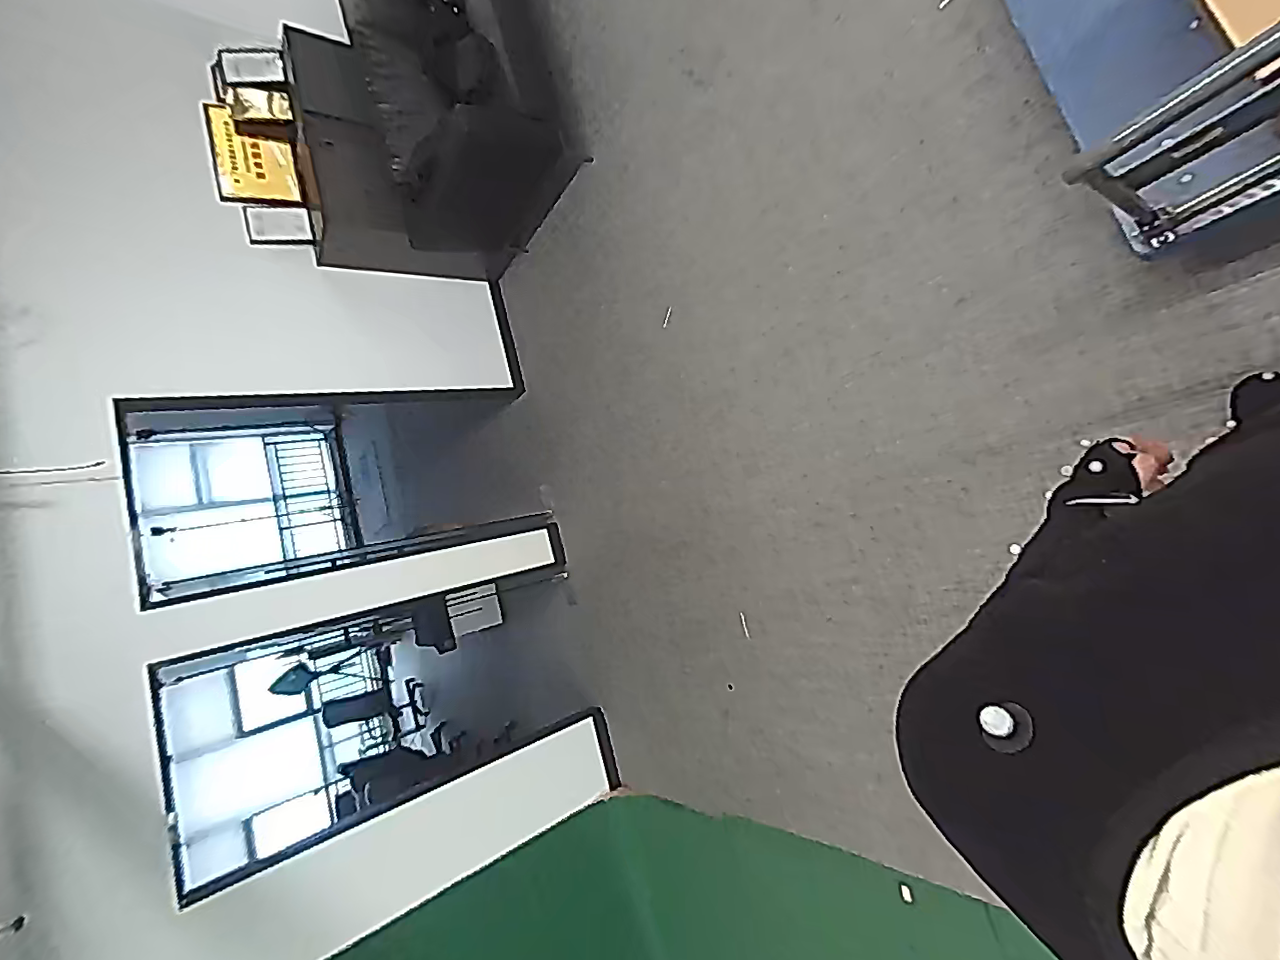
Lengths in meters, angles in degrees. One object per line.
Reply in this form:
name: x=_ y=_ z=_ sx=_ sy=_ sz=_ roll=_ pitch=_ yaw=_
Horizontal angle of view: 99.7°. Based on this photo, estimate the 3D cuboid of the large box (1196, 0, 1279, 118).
large box: x=1.013 y=-0.812 z=0.762 sx=0.320 sy=0.320 sz=0.408 roll=-32 pitch=71 yaw=50
